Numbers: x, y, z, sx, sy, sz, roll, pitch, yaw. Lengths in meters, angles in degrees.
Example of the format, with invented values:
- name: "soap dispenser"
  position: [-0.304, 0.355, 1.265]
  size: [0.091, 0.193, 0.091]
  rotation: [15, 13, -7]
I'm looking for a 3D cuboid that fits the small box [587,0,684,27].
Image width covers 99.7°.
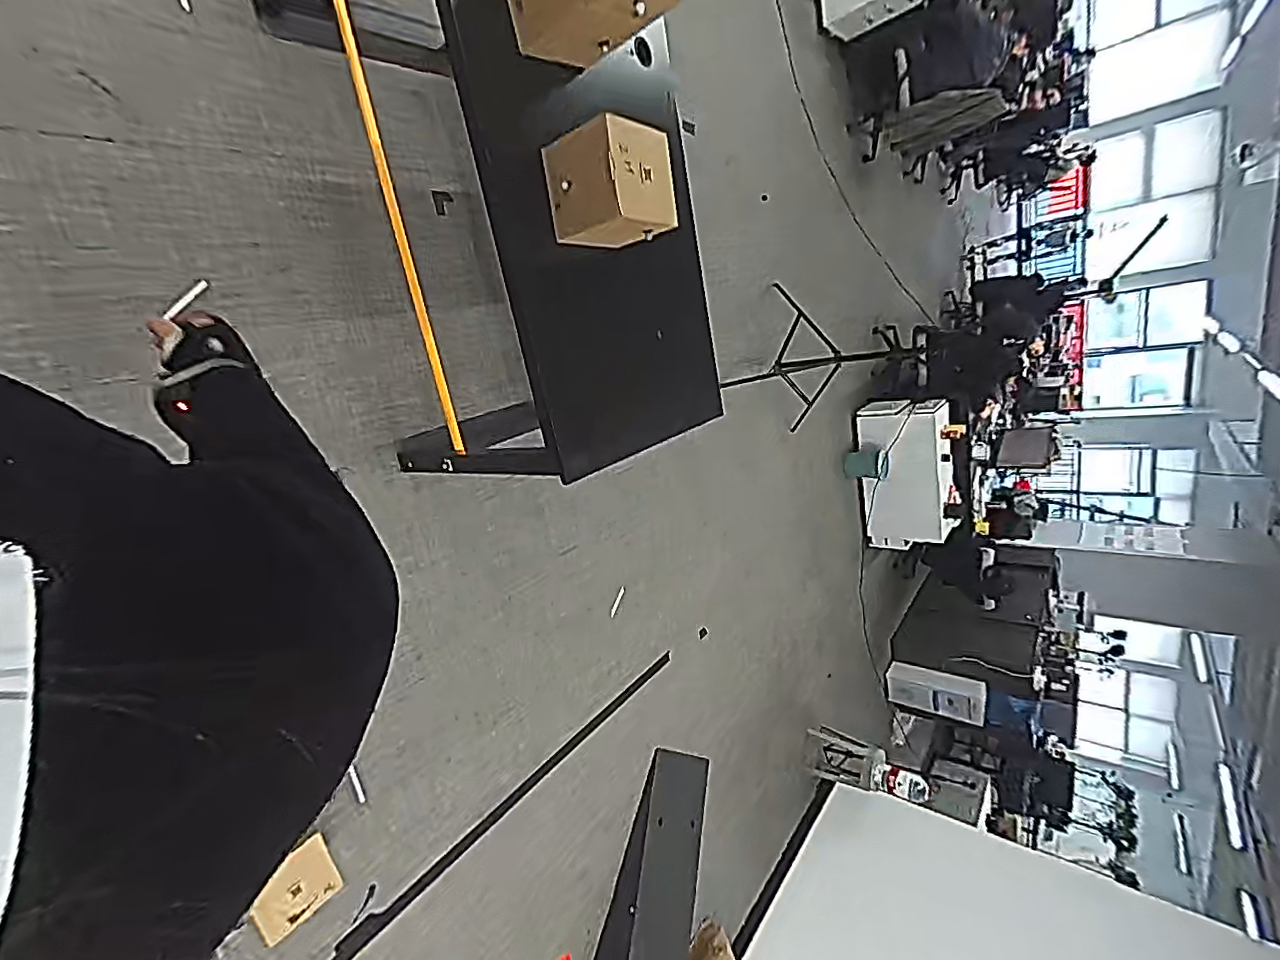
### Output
- name: "small box"
  position: [0.000, -0.857, 0.835]
  size: [0.168, 0.176, 0.179]
  rotation: [-33, 116, -44]

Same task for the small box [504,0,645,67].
- name: "small box"
  position: [-0.122, -0.861, 0.945]
  size: [0.179, 0.176, 0.168]
  rotation: [-32, 114, -43]

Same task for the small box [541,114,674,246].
- name: "small box"
  position: [-0.060, -0.554, 1.029]
  size: [0.179, 0.176, 0.168]
  rotation: [-22, 108, -47]

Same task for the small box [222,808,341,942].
- name: "small box"
  position: [-0.856, 0.922, 1.288]
  size: [0.168, 0.176, 0.179]
  rotation: [-28, 112, -46]
